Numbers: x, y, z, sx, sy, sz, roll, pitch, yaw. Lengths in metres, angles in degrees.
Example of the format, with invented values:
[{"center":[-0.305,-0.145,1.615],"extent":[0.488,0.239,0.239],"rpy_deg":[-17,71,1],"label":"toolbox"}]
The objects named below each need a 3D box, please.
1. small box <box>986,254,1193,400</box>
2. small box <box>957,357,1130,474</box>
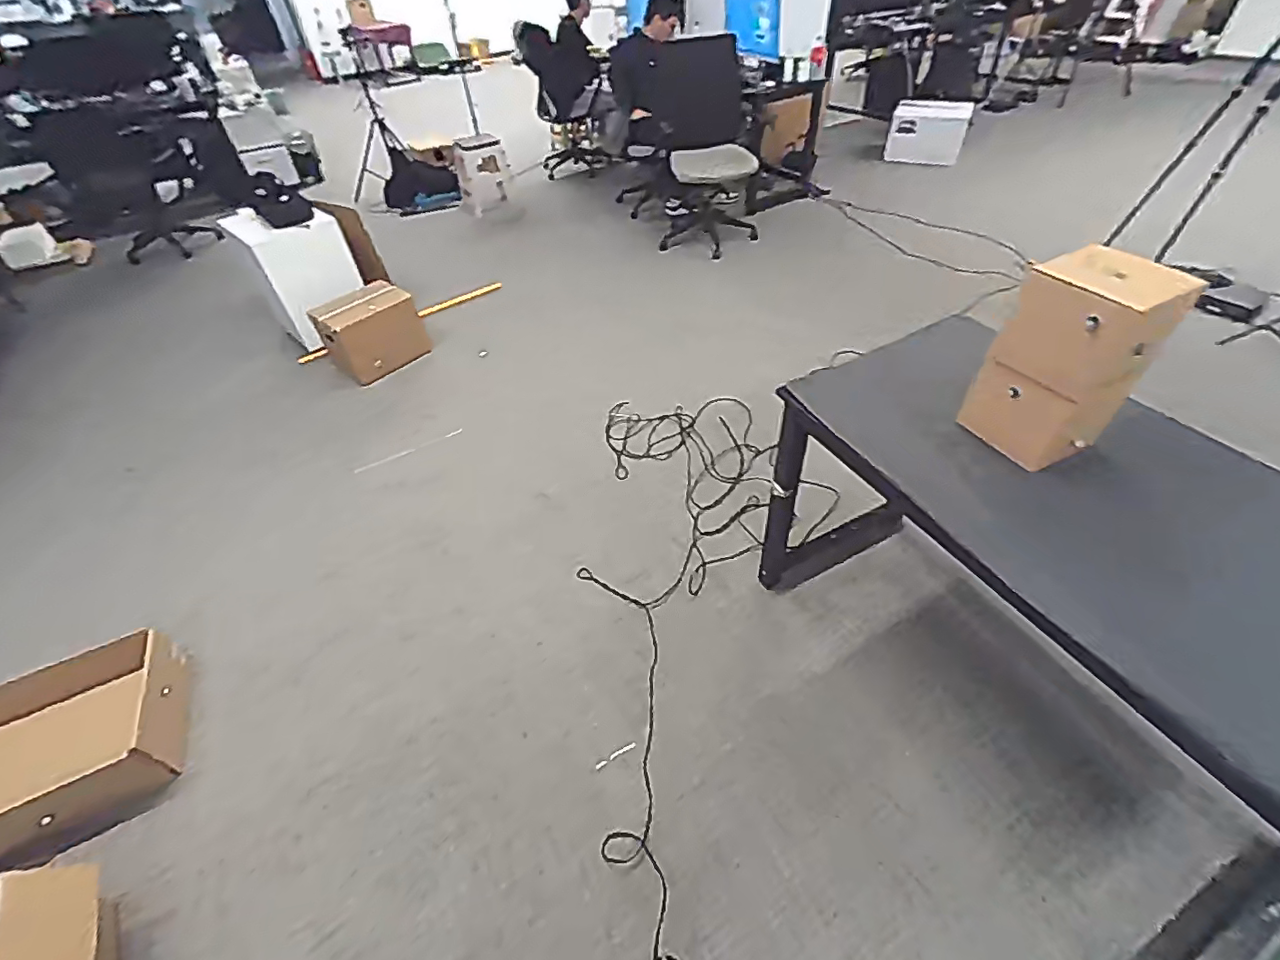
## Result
[{"center":[0.744,-0.254,0.918],"extent":[0.168,0.176,0.179],"rpy_deg":[-21,47,-17],"label":"small box"},{"center":[0.756,-0.142,1.038],"extent":[0.168,0.176,0.179],"rpy_deg":[-20,47,-16],"label":"small box"}]
